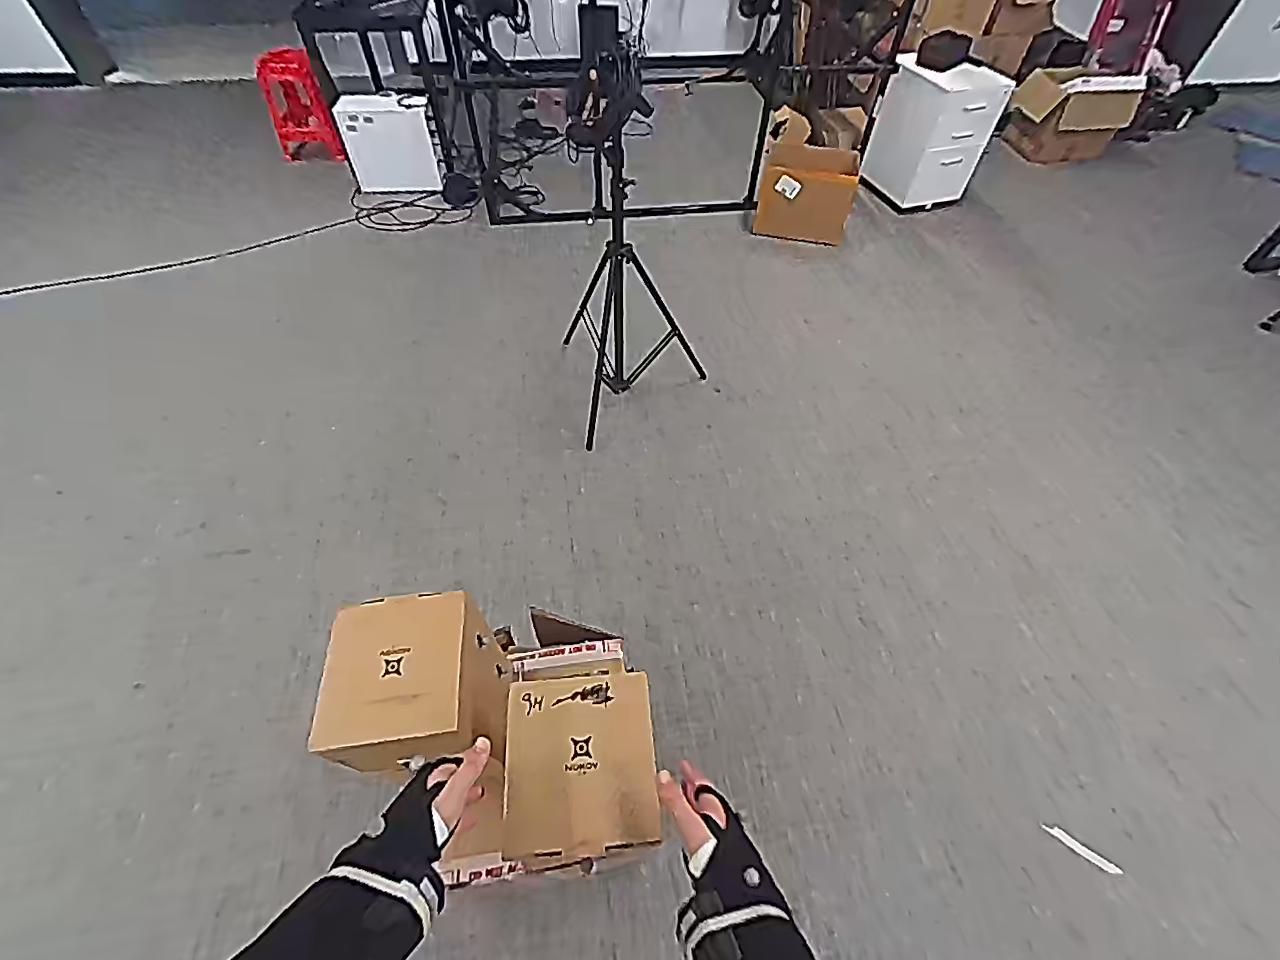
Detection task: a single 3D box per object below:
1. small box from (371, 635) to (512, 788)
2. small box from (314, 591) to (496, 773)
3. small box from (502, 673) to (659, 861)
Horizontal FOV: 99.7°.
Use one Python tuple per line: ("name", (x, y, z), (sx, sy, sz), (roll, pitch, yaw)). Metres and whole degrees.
("small box", (-0.297, 0.367, 0.851), (0.168, 0.176, 0.179), (-7, 54, -5))
("small box", (-0.294, 0.270, 0.720), (0.168, 0.176, 0.179), (-8, 55, -4))
("small box", (-0.069, 0.354, 0.665), (0.168, 0.176, 0.179), (-3, 55, -5))
